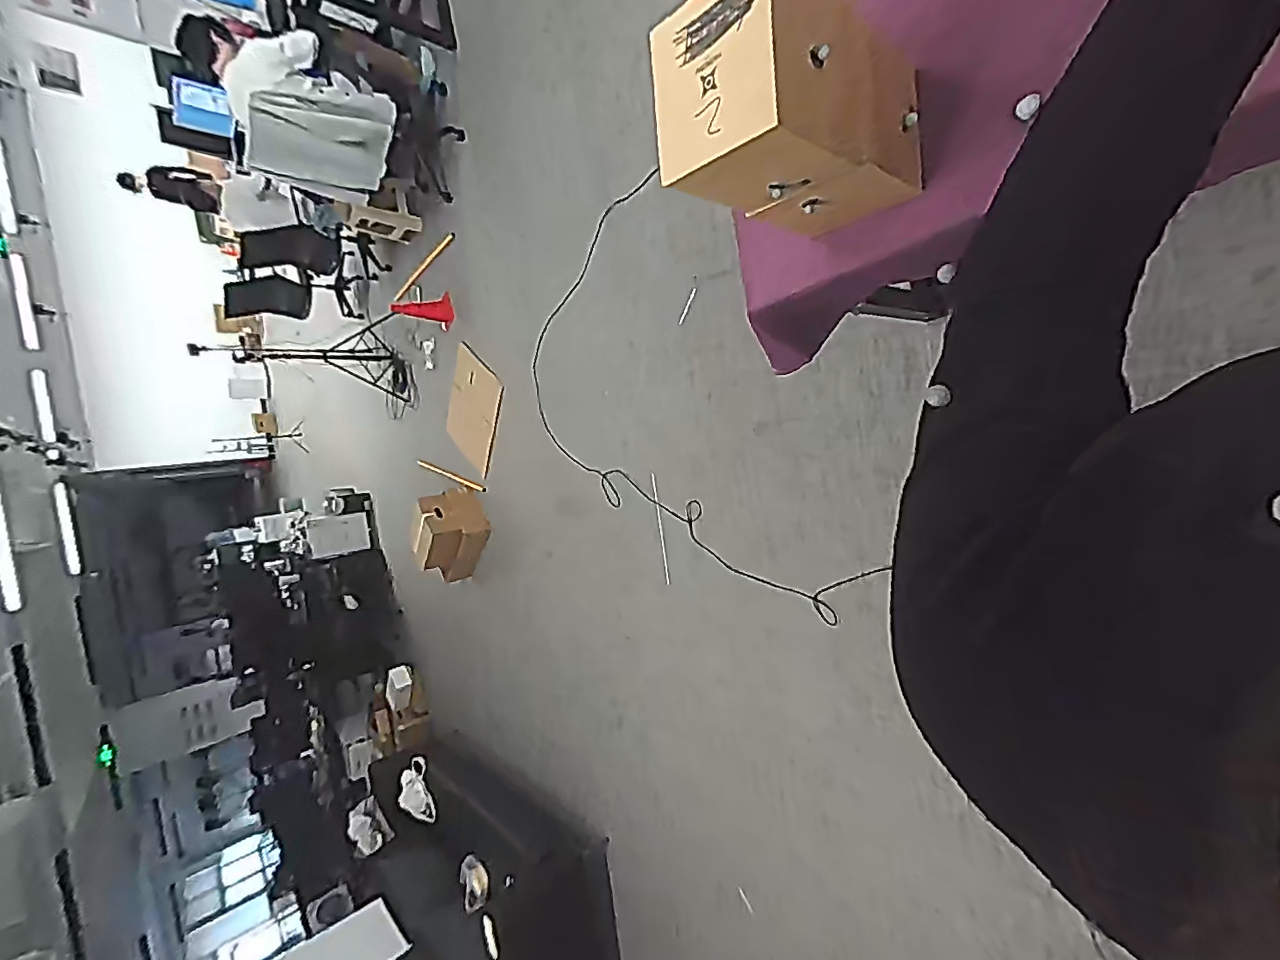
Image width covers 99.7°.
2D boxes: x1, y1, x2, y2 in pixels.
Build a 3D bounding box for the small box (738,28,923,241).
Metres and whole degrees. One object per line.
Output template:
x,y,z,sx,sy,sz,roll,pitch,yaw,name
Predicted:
0.261,-0.449,0.742,0.179,0.176,0.168,-3,95,48,small box
